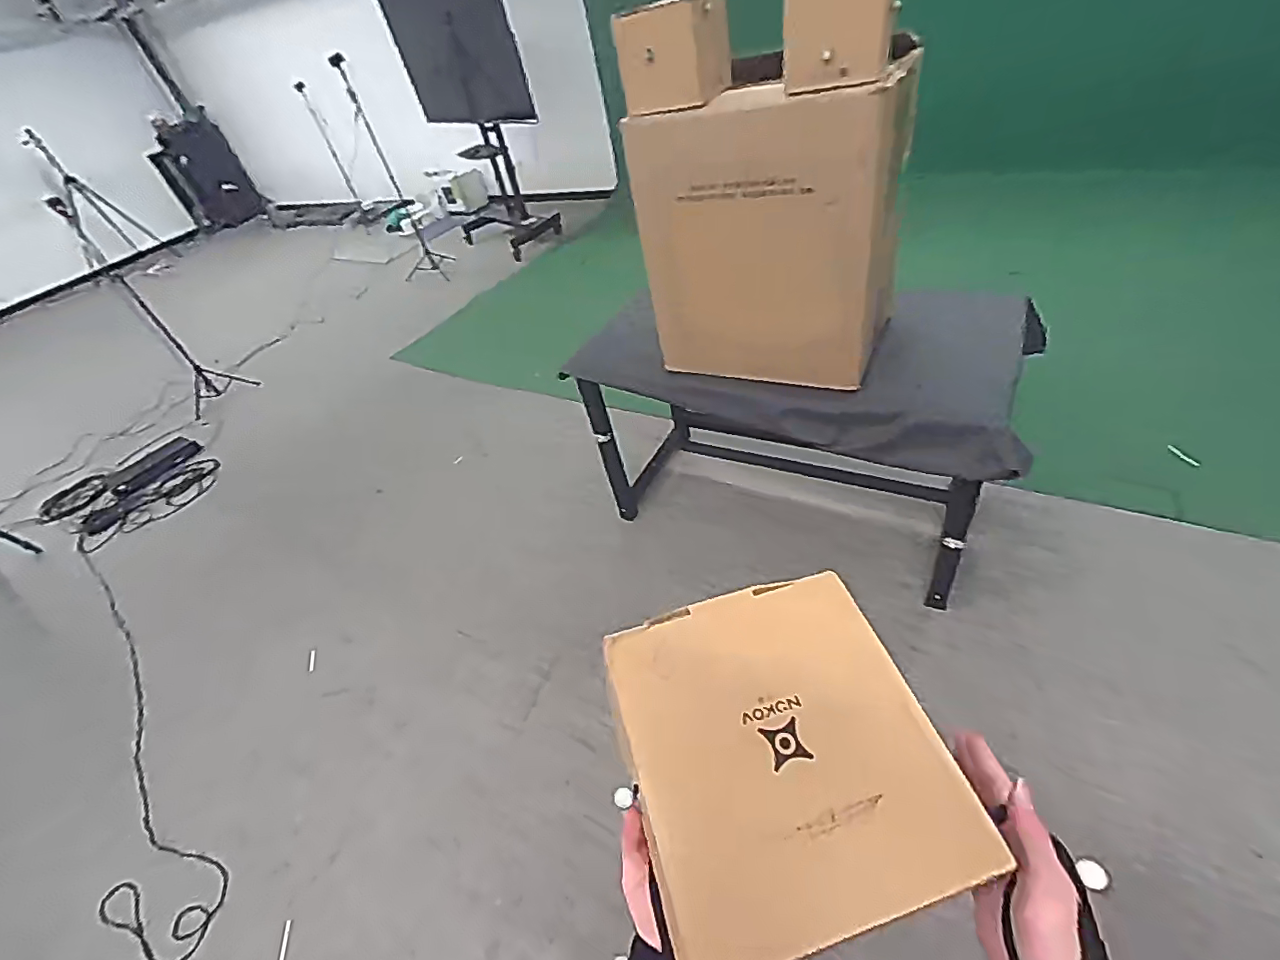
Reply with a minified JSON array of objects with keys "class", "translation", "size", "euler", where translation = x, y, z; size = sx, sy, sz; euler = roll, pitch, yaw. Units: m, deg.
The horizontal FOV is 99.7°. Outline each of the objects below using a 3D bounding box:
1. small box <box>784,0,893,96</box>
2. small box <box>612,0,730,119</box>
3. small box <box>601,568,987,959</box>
[{"class":"small box","translation":[0.358,-0.818,0.977],"size":[0.168,0.176,0.179],"euler":[9,48,24]},{"class":"small box","translation":[0.072,-0.874,1.124],"size":[0.179,0.176,0.168],"euler":[11,49,29]},{"class":"small box","translation":[0.075,0.192,0.370],"size":[0.168,0.176,0.179],"euler":[-14,51,-10]}]
